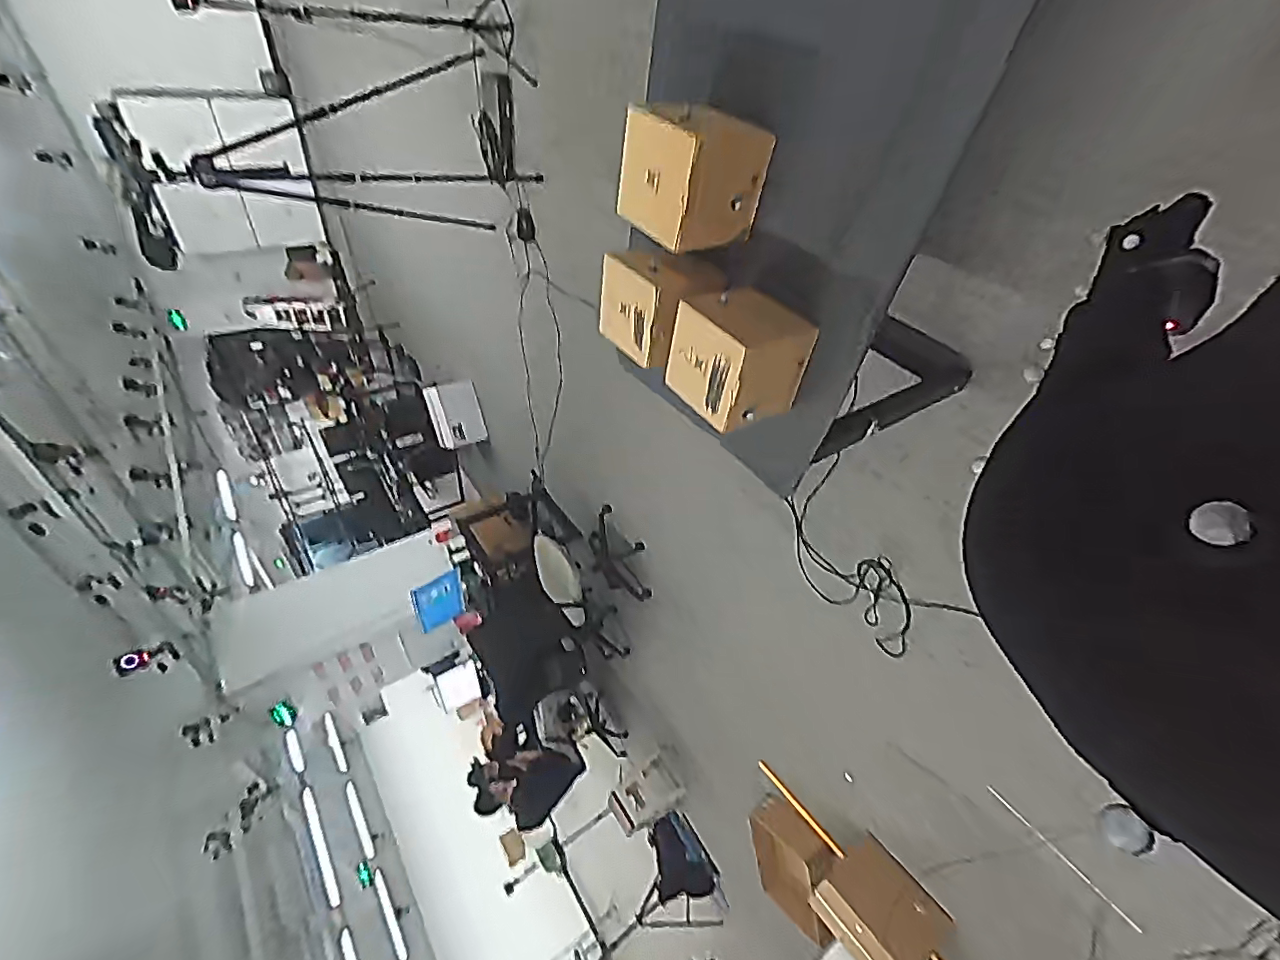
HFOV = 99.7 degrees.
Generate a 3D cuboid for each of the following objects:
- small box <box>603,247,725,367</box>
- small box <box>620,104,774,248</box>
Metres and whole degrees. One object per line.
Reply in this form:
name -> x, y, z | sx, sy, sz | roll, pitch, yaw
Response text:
small box -> 0.046, -0.355, 1.088 | 0.179, 0.176, 0.168 | 46, 144, 34
small box -> 0.090, -0.512, 0.911 | 0.179, 0.176, 0.168 | 46, 144, 31
